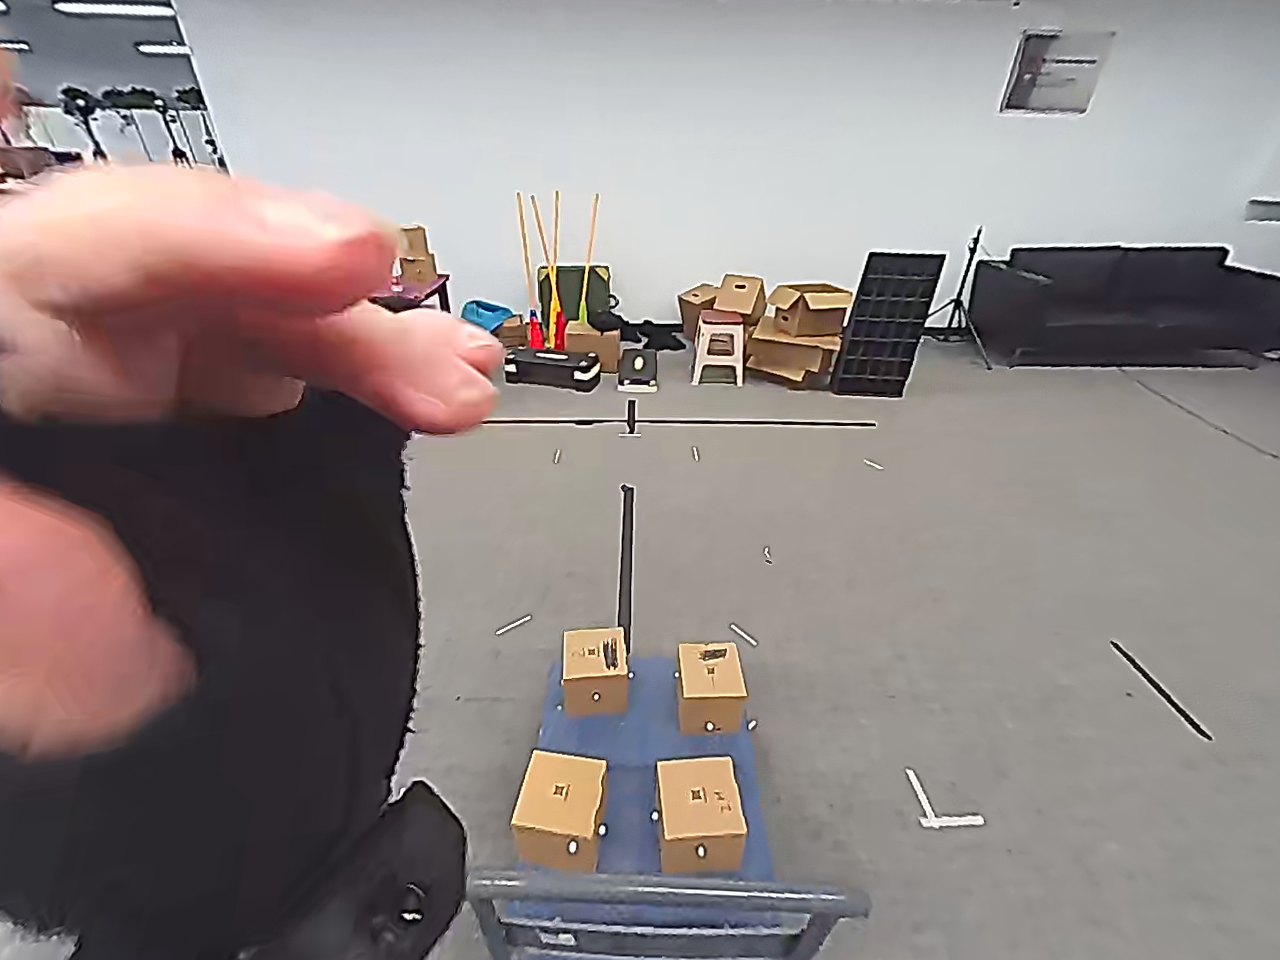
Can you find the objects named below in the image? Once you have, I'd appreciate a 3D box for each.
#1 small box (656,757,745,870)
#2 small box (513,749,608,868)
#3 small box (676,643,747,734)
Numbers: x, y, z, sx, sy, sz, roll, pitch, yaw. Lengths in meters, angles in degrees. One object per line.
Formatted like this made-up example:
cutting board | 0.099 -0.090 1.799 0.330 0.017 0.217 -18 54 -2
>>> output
small box | 0.130 0.760 1.230 0.179 0.176 0.168 -1 33 -4
small box | -0.174 0.750 1.234 0.179 0.176 0.168 6 32 5
small box | 0.193 0.581 1.512 0.168 0.176 0.179 0 33 -1
